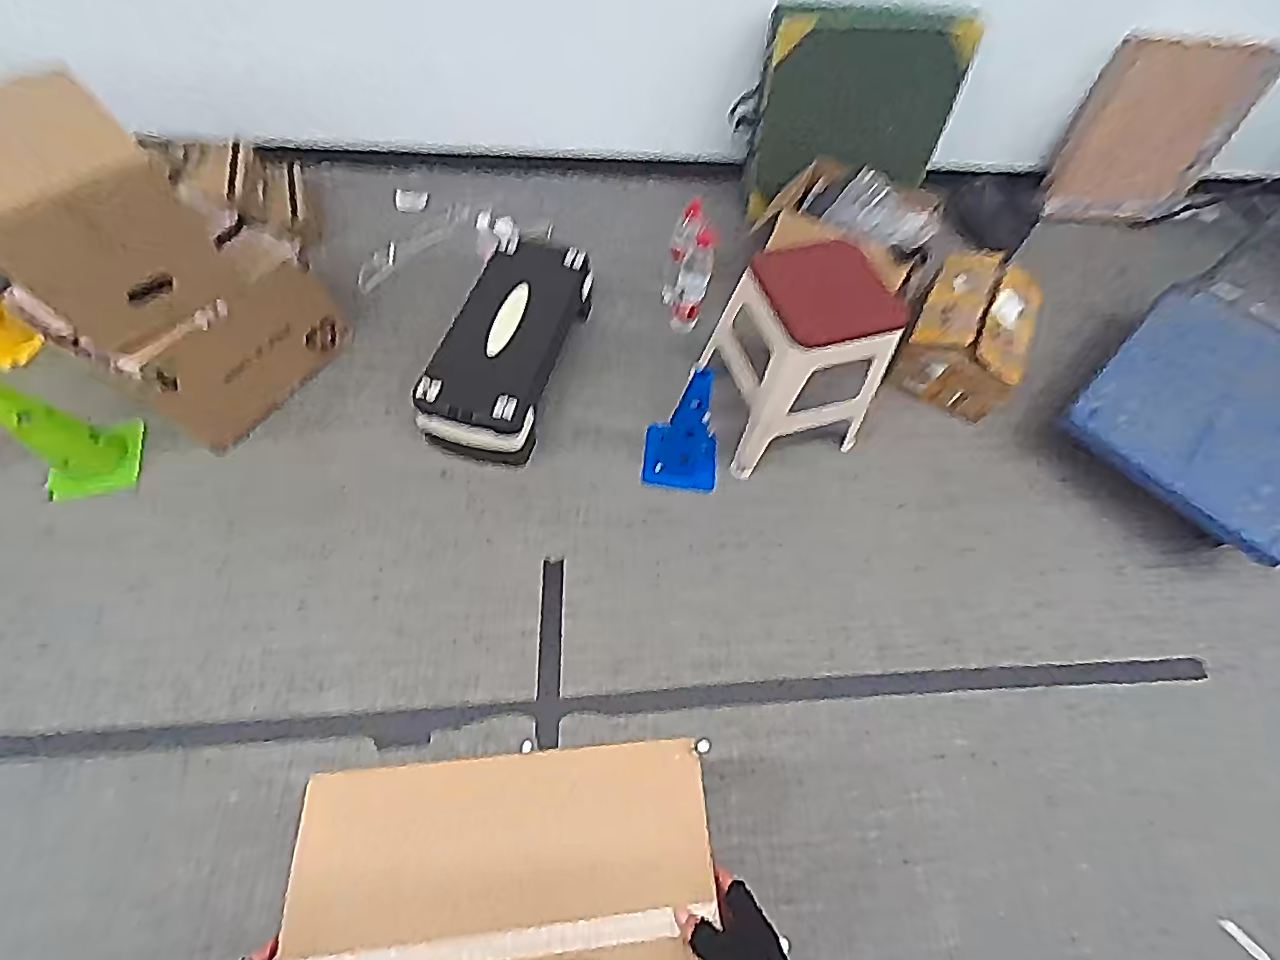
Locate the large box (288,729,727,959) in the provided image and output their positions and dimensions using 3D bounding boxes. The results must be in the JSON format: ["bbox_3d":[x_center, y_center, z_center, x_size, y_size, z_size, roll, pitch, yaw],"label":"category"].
[{"bbox_3d":[-0.133,0.492,0.632,0.408,0.320,0.320,-2,62,-7],"label":"large box"}]
